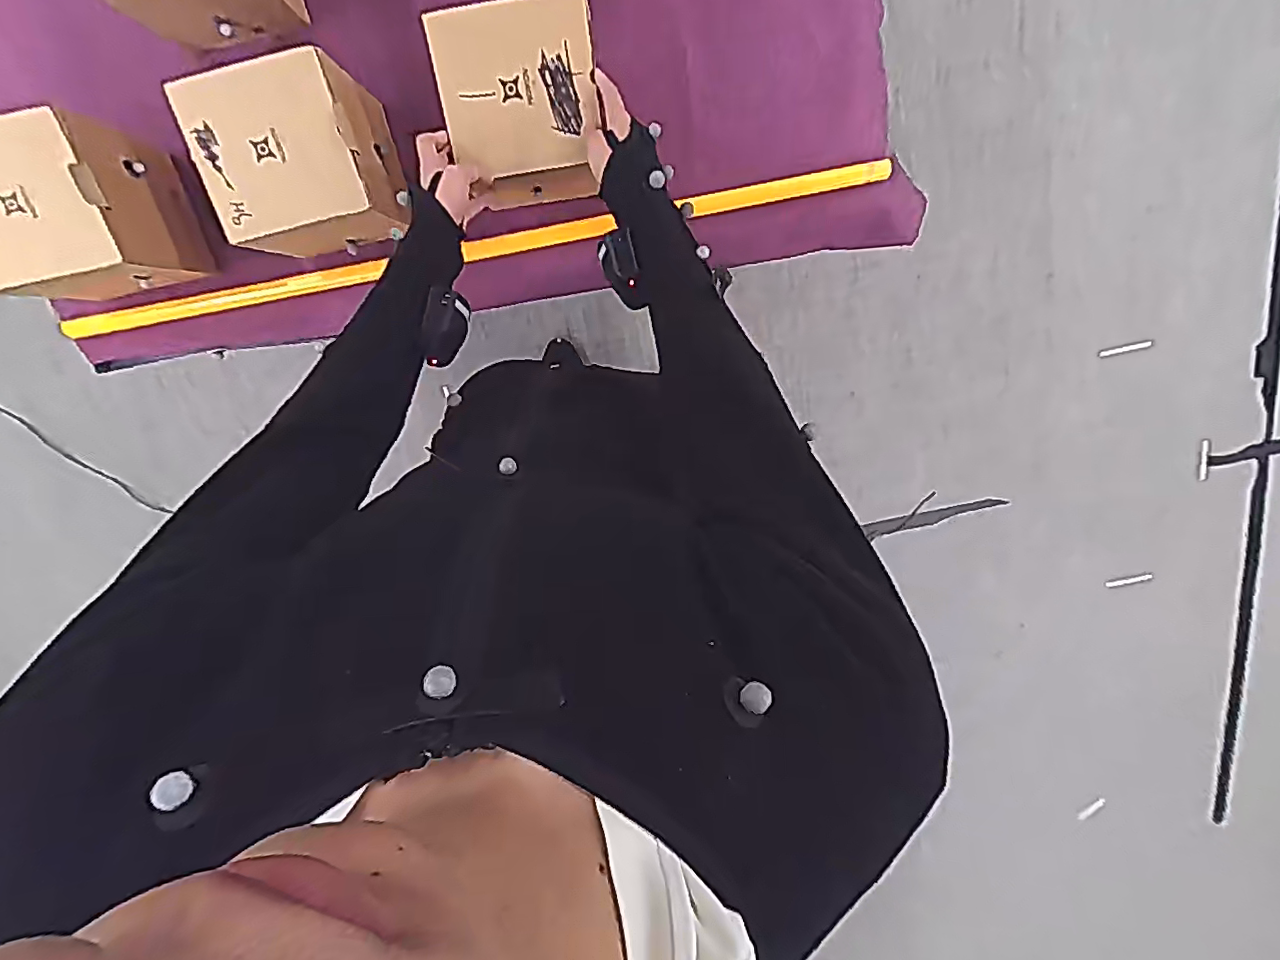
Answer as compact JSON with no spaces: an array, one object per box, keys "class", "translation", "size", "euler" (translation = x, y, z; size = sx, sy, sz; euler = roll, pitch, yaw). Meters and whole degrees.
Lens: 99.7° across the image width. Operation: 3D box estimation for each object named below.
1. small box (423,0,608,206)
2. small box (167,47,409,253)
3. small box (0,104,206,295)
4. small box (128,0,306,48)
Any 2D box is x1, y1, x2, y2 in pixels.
[{"class":"small box","translation":[-0.135,-0.451,0.667],"size":[0.179,0.176,0.168],"euler":[-8,107,2]},{"class":"small box","translation":[-0.414,-0.396,0.680],"size":[0.179,0.176,0.168],"euler":[-13,107,1]},{"class":"small box","translation":[-0.703,-0.337,0.683],"size":[0.179,0.176,0.168],"euler":[-13,106,-1]},{"class":"small box","translation":[-0.520,-0.633,0.602],"size":[0.168,0.176,0.179],"euler":[-11,109,1]}]
